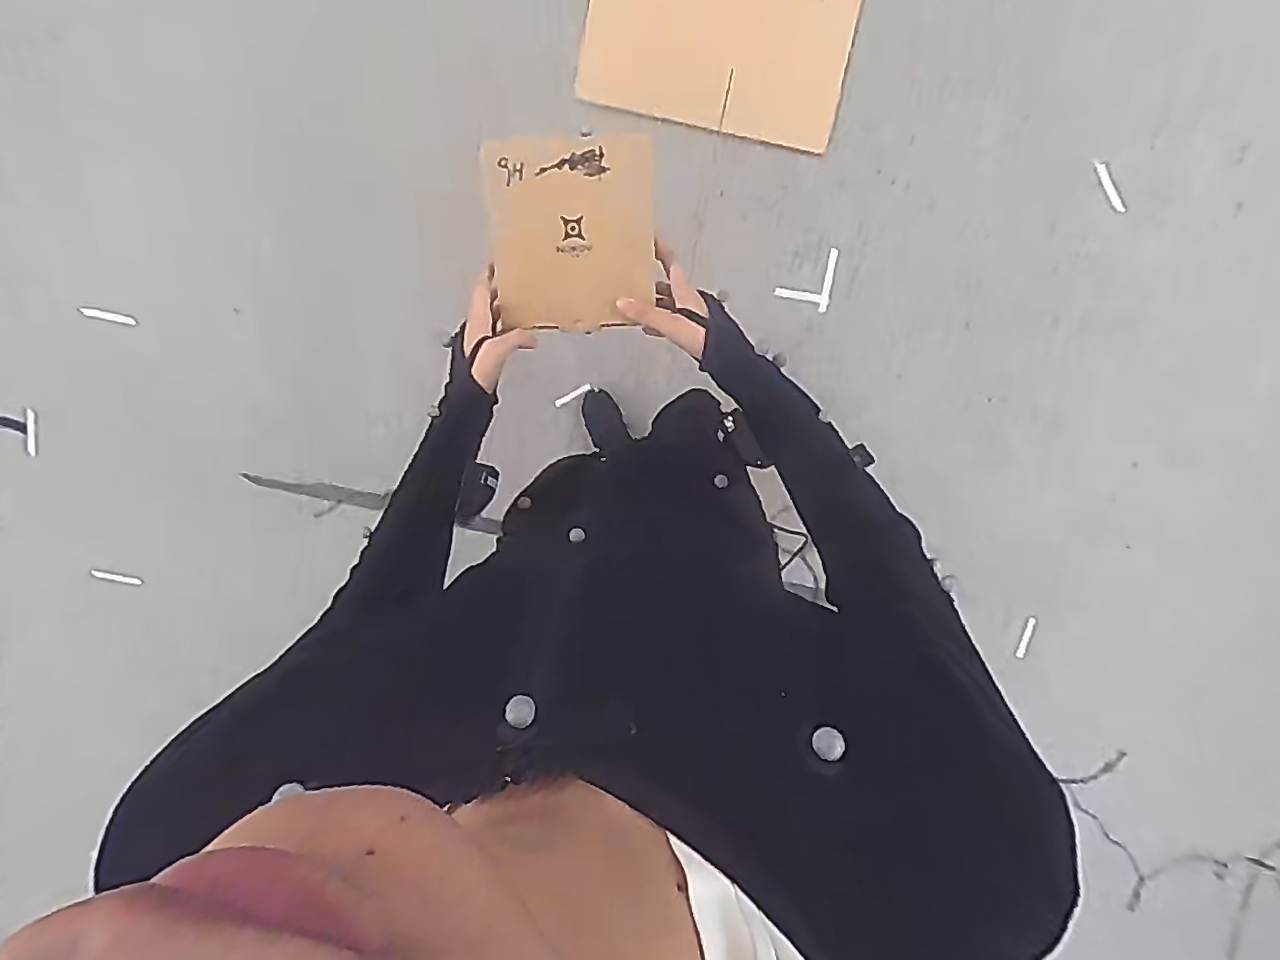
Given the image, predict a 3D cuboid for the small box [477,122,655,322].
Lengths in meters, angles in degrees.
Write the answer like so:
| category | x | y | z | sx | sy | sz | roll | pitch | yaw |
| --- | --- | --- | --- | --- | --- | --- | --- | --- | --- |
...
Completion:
| category | x | y | z | sx | sy | sz | roll | pitch | yaw |
| --- | --- | --- | --- | --- | --- | --- | --- | --- | --- |
| small box | -0.066 | -0.278 | 0.599 | 0.168 | 0.176 | 0.179 | -2 | 113 | 0 |
